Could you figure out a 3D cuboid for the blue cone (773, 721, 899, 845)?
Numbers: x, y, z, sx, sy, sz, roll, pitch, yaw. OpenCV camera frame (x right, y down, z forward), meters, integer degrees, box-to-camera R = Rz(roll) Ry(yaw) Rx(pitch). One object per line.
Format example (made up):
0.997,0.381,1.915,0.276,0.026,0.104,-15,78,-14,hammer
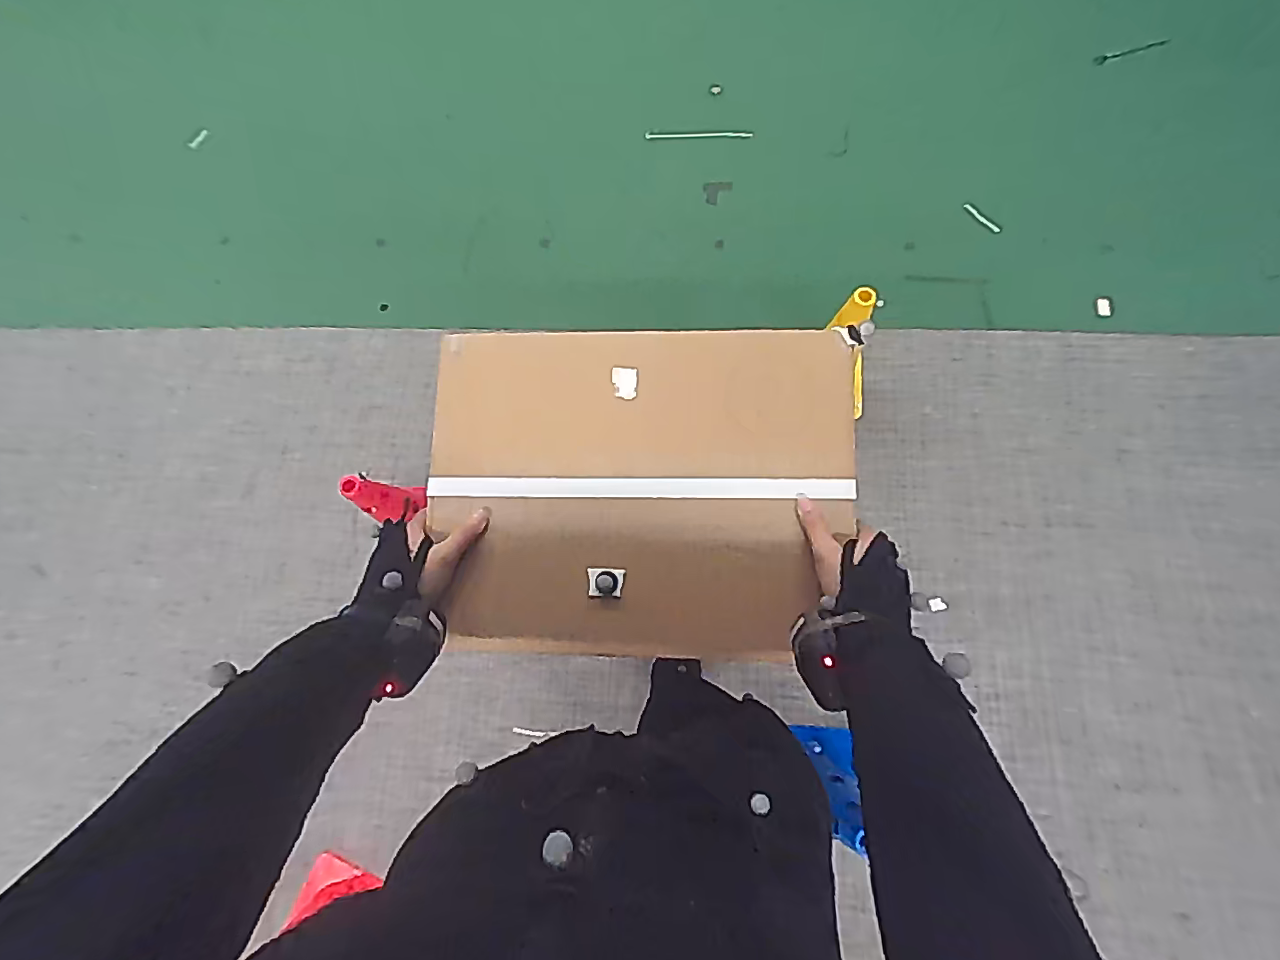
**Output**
0.353,0.548,0.940,0.192,0.380,0.193,2,74,6,blue cone

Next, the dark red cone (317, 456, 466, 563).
-0.531,0.040,1.138,0.202,0.394,0.201,-6,70,4,dark red cone

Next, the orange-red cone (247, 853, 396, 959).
-0.632,0.843,0.932,0.199,0.360,0.198,20,75,13,orange-red cone
